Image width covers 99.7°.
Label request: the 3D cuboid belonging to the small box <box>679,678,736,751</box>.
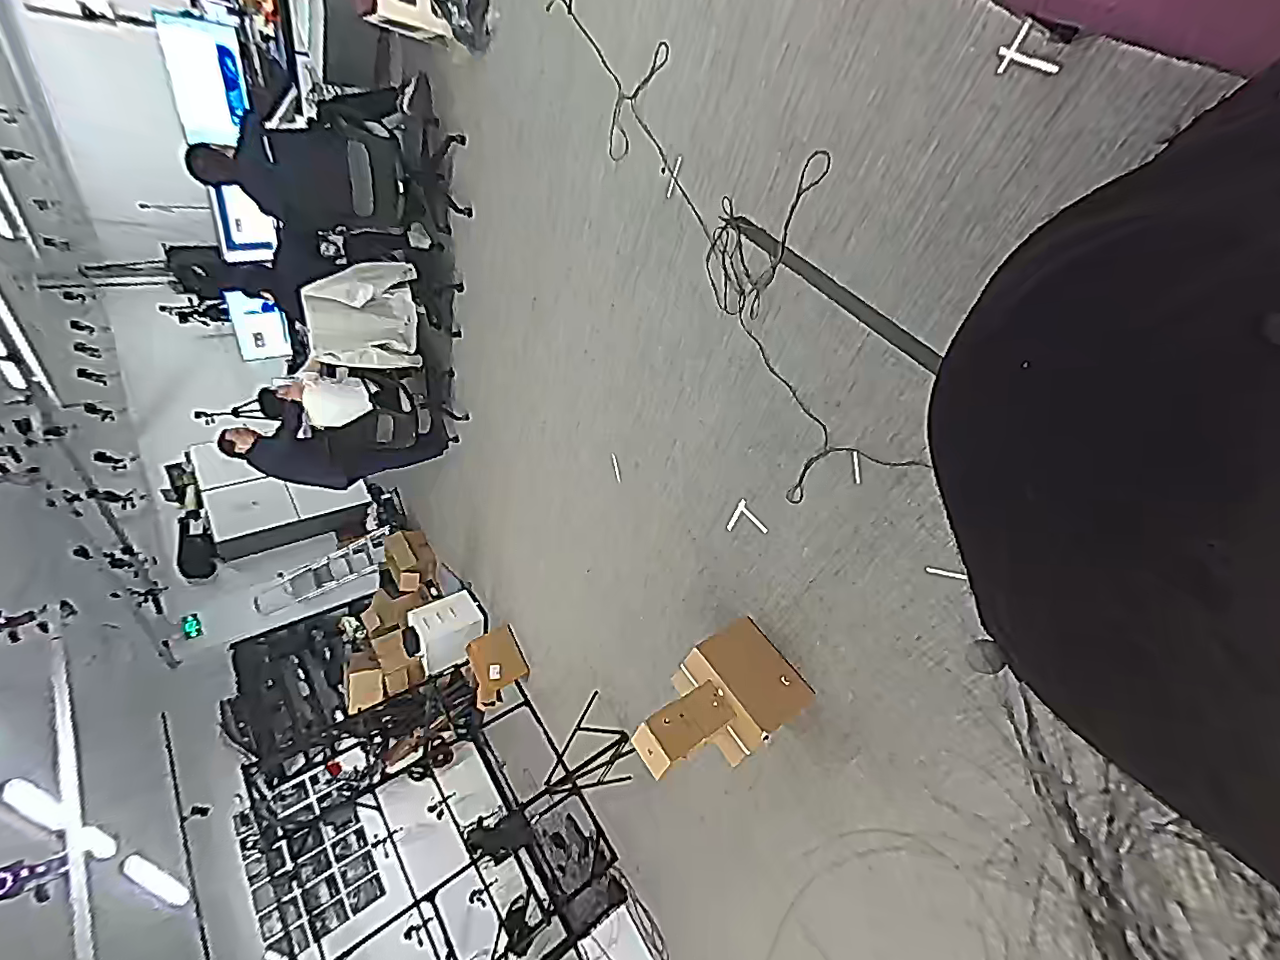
[{"bbox_3d":[0.233,0.886,2.045,0.168,0.176,0.179,48,138,28],"label":"small box"}]

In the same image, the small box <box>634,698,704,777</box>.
[{"bbox_3d":[0.107,0.922,1.948,0.168,0.176,0.179,48,139,30],"label":"small box"}]
